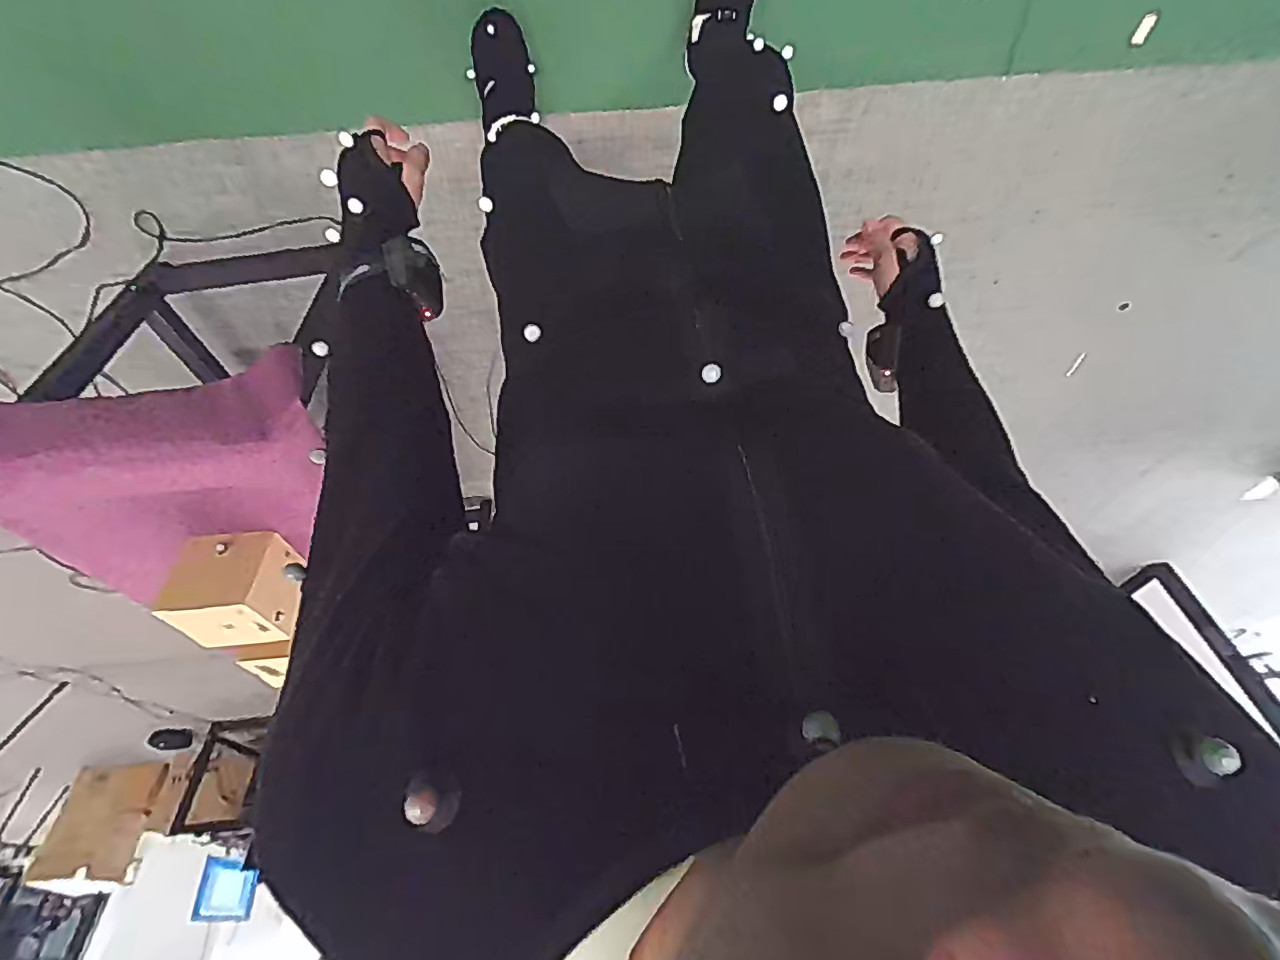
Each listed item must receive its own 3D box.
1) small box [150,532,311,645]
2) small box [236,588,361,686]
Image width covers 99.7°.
[{"bbox_3d":[-0.816,0.221,1.102,0.179,0.176,0.168,-4,142,-1],"label":"small box"},{"bbox_3d":[-0.803,0.374,1.292,0.179,0.176,0.168,-4,141,-3],"label":"small box"}]
